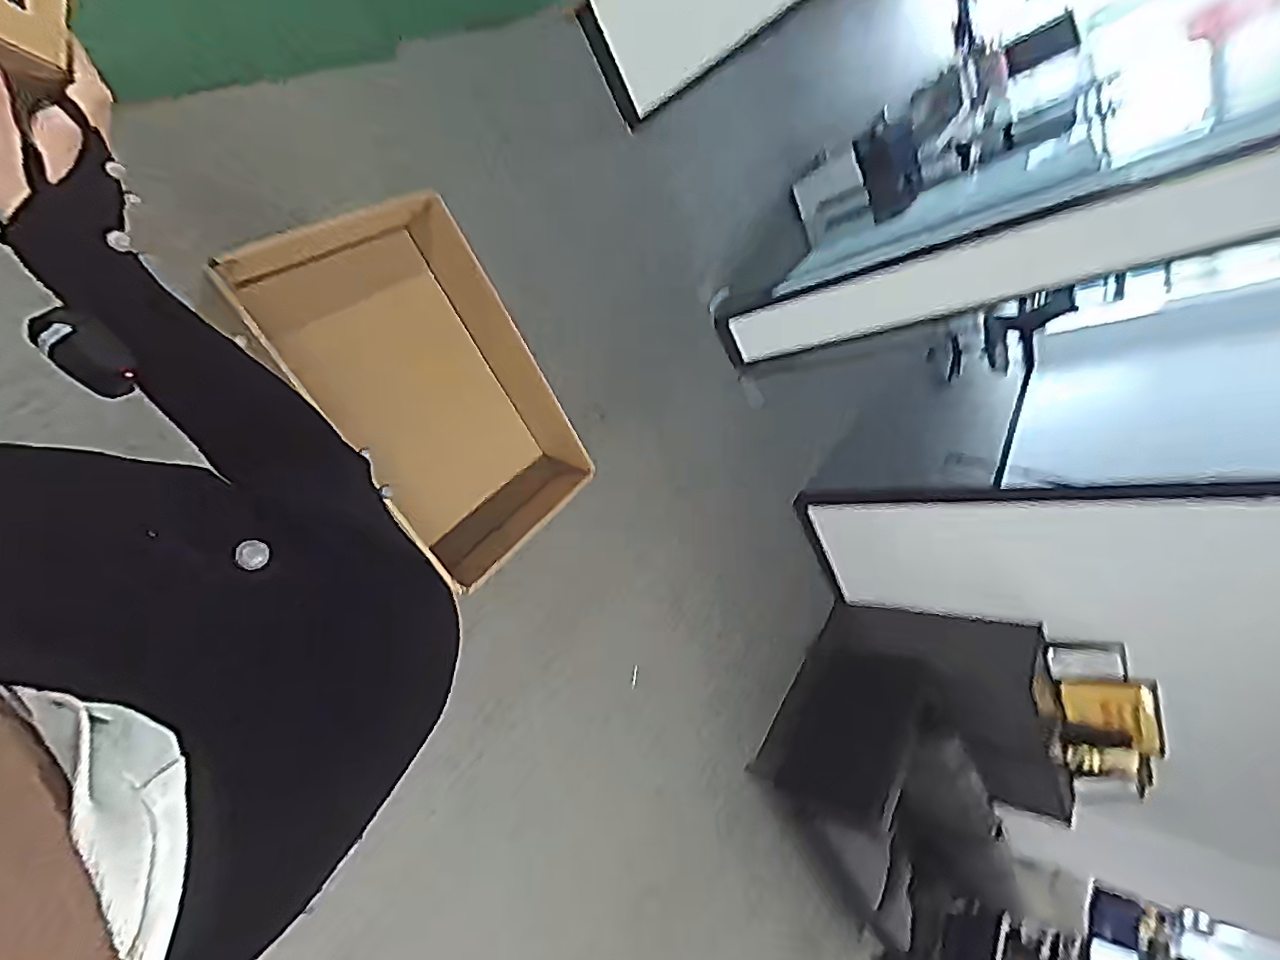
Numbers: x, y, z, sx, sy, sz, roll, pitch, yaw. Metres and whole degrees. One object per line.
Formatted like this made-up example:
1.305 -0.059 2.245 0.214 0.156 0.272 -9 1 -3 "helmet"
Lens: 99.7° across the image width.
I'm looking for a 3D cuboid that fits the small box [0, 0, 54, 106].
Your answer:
-0.522 -0.380 0.349 0.179 0.176 0.168 4 91 -56 "small box"
